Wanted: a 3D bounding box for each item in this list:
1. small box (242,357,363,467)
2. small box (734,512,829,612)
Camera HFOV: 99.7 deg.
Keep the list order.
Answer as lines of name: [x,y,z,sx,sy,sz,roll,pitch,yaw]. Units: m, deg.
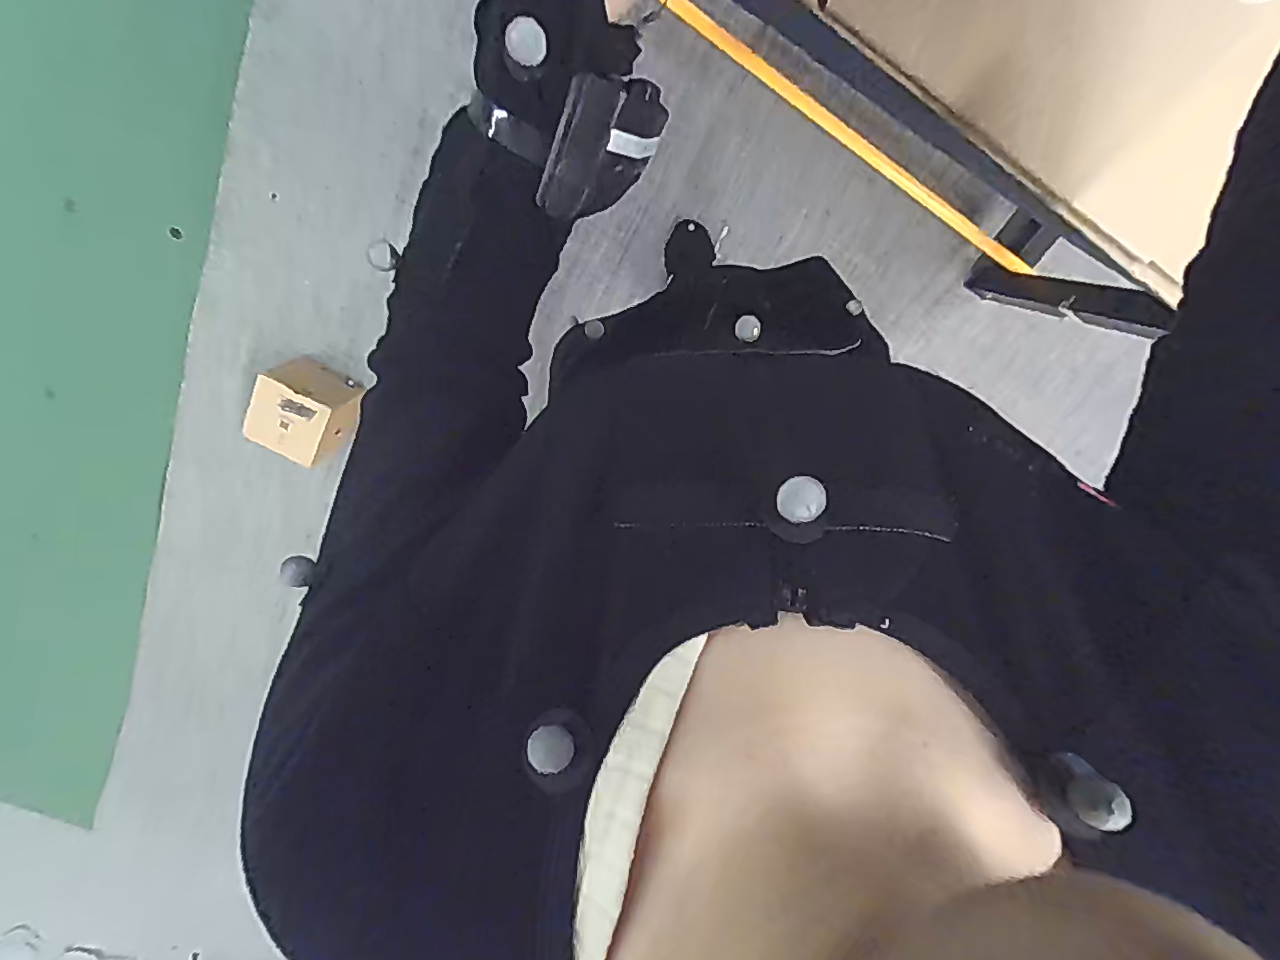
small box: [-0.793,-0.168,1.289,0.168,0.176,0.179,30,114,-12]
small box: [0.367,0.213,1.450,0.168,0.176,0.179,23,113,-9]
